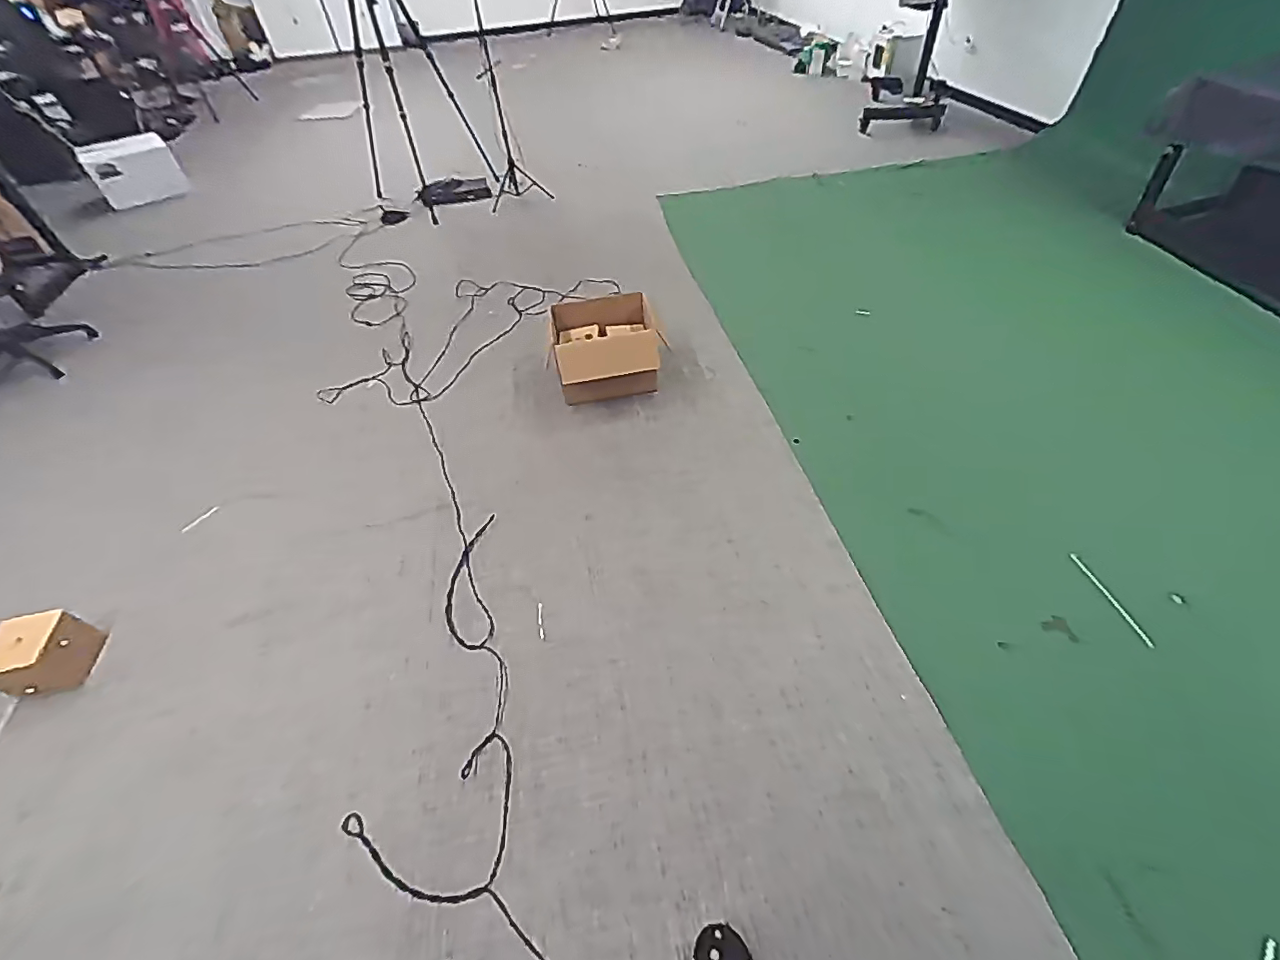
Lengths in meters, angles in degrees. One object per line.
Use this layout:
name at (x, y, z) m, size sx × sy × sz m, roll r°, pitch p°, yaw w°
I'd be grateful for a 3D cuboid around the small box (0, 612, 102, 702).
small box at (-1.725, 0.511, 1.557) m, size 0.168 × 0.176 × 0.179 m, roll -12°, pitch 49°, yaw -6°
